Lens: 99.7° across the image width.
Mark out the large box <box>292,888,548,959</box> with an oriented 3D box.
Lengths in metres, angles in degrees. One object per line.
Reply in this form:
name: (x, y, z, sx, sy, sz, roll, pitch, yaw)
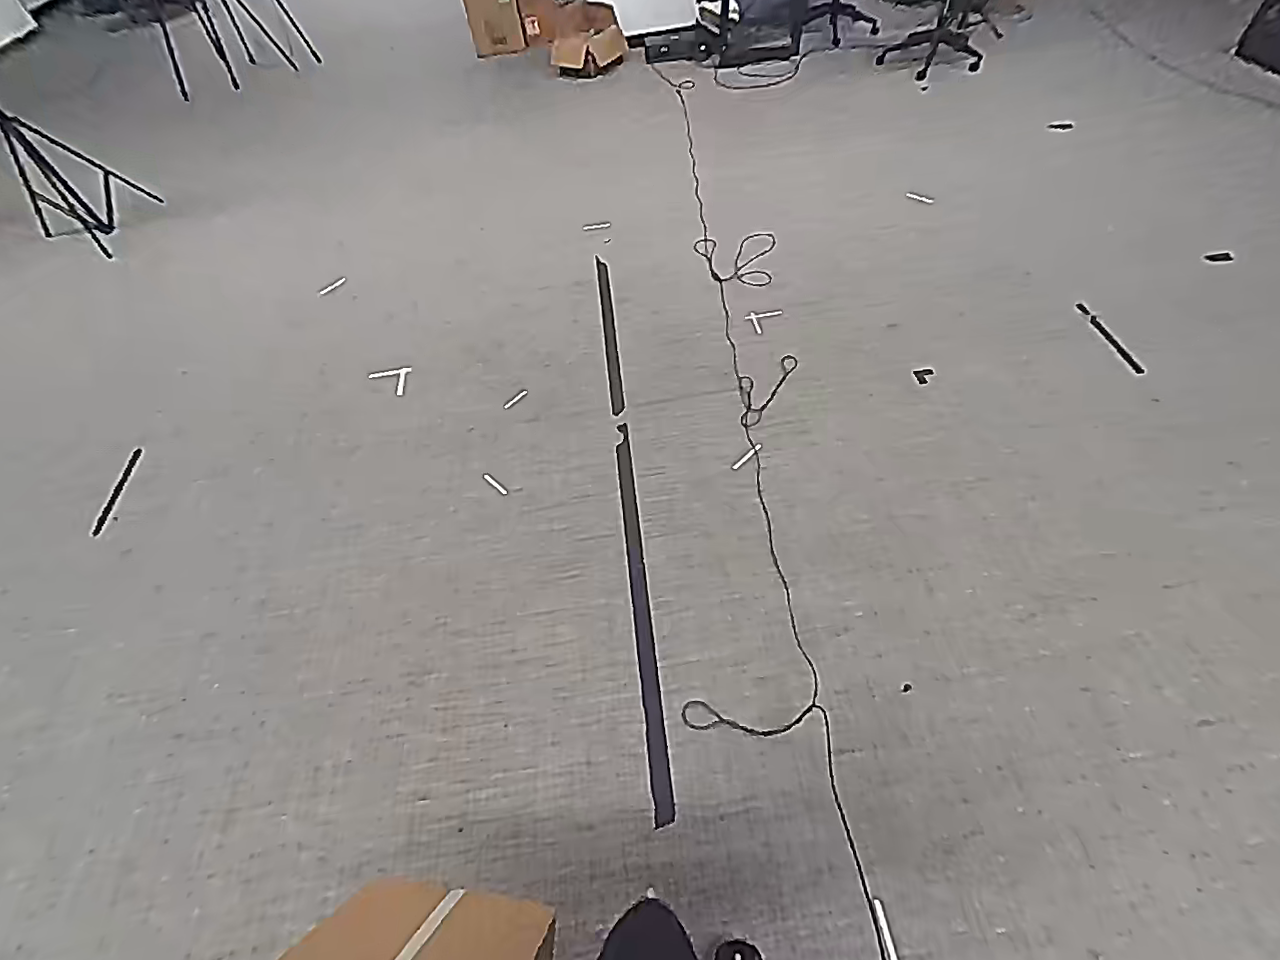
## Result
large box: (-0.322, 0.779, 0.632, 0.320, 0.408, 0.320, 1, 81, 8)
